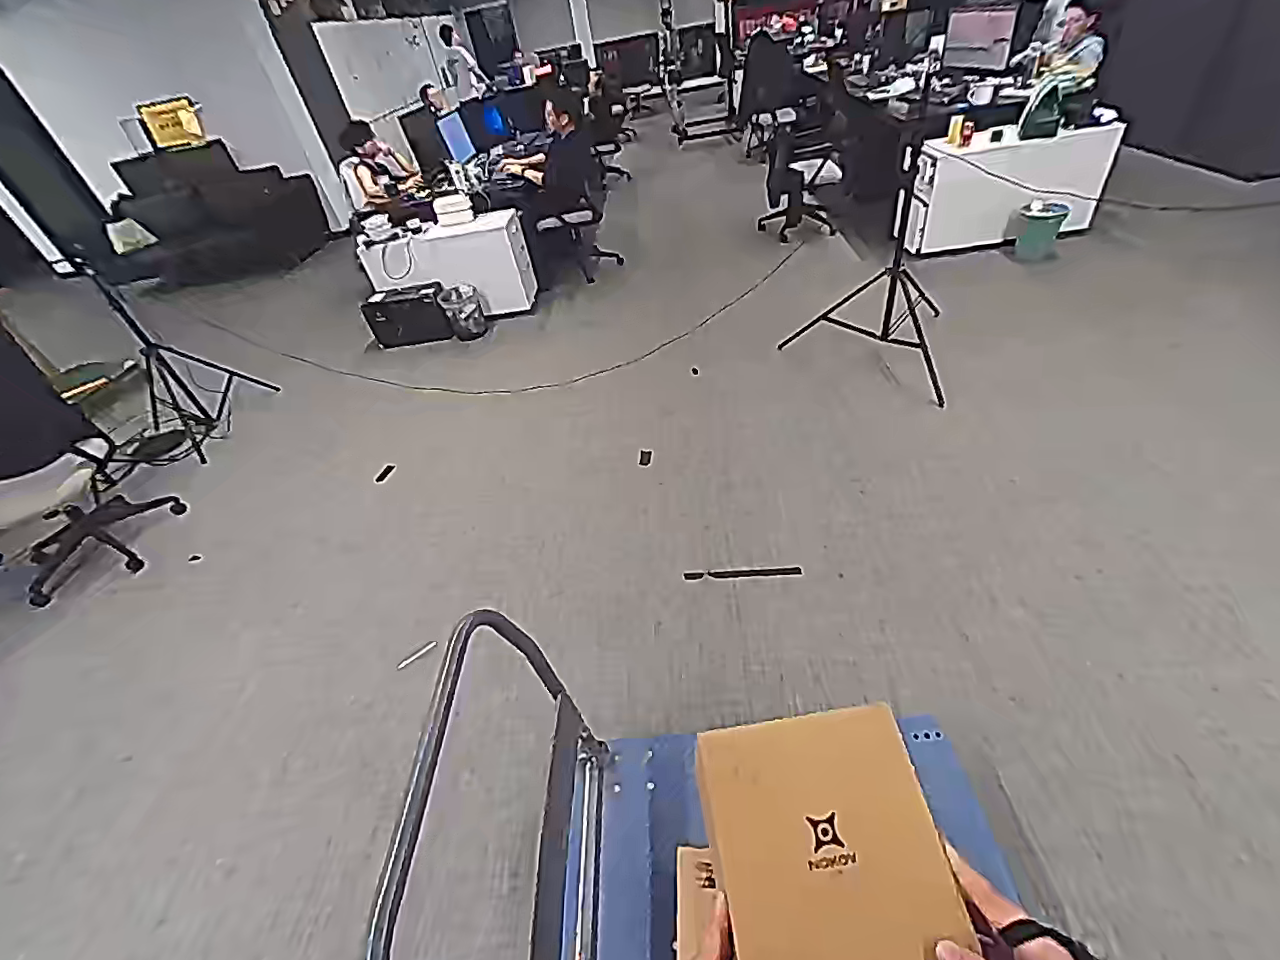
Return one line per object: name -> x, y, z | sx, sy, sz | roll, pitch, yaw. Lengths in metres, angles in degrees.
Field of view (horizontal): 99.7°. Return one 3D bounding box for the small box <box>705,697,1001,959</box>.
small box -> 0.153, 0.307, 0.467 | 0.168, 0.176, 0.179 | -9, 56, -1
